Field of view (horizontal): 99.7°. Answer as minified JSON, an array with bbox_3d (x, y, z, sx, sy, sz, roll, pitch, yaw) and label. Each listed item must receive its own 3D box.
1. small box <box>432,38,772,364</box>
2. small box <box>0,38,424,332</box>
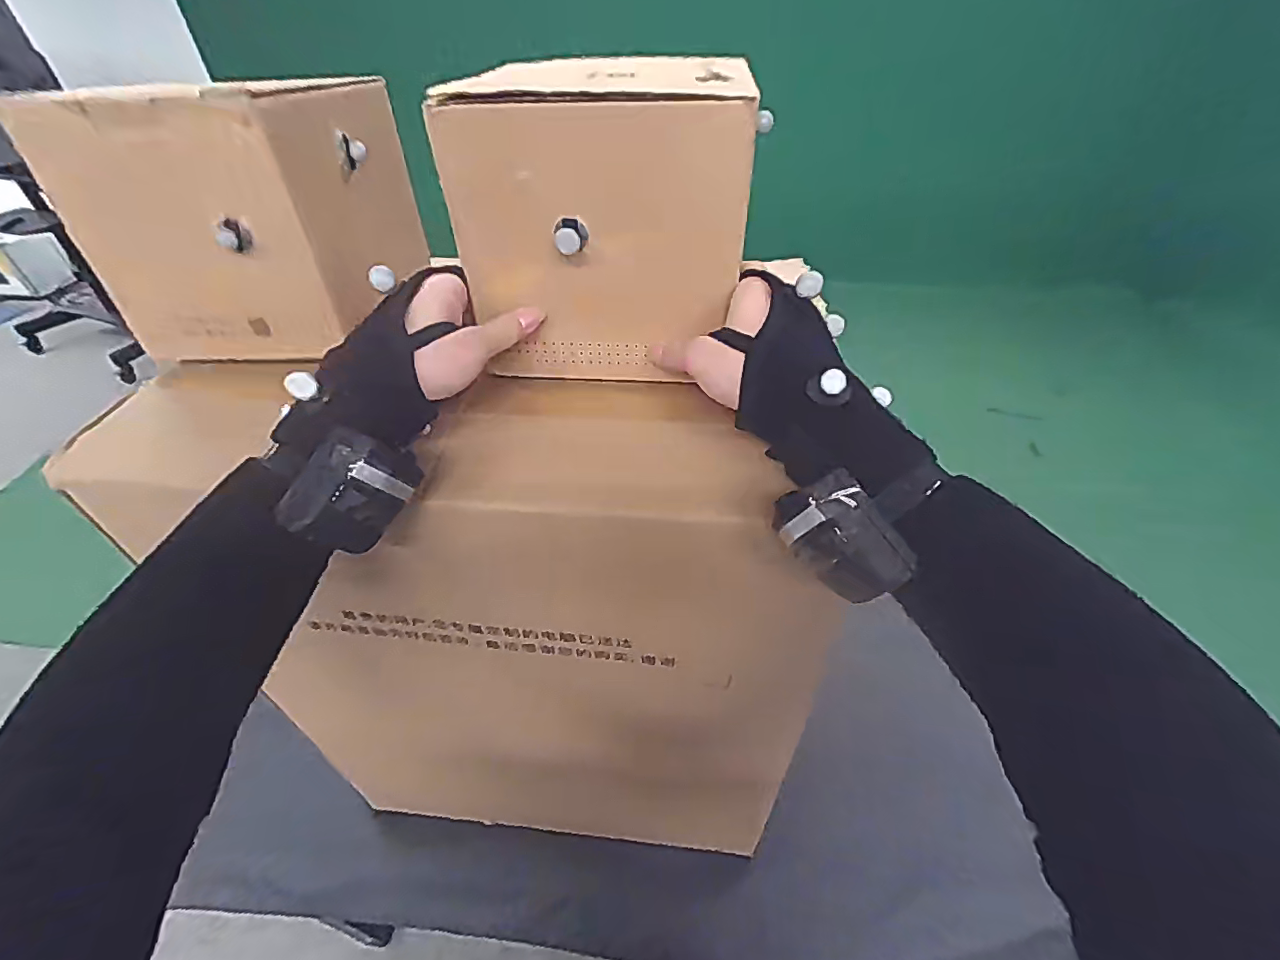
[{"bbox_3d":[-0.011,-0.194,0.379,0.179,0.176,0.168,3,43,5],"label":"small box"},{"bbox_3d":[-0.287,-0.221,0.414,0.168,0.176,0.179,2,34,2],"label":"small box"}]
